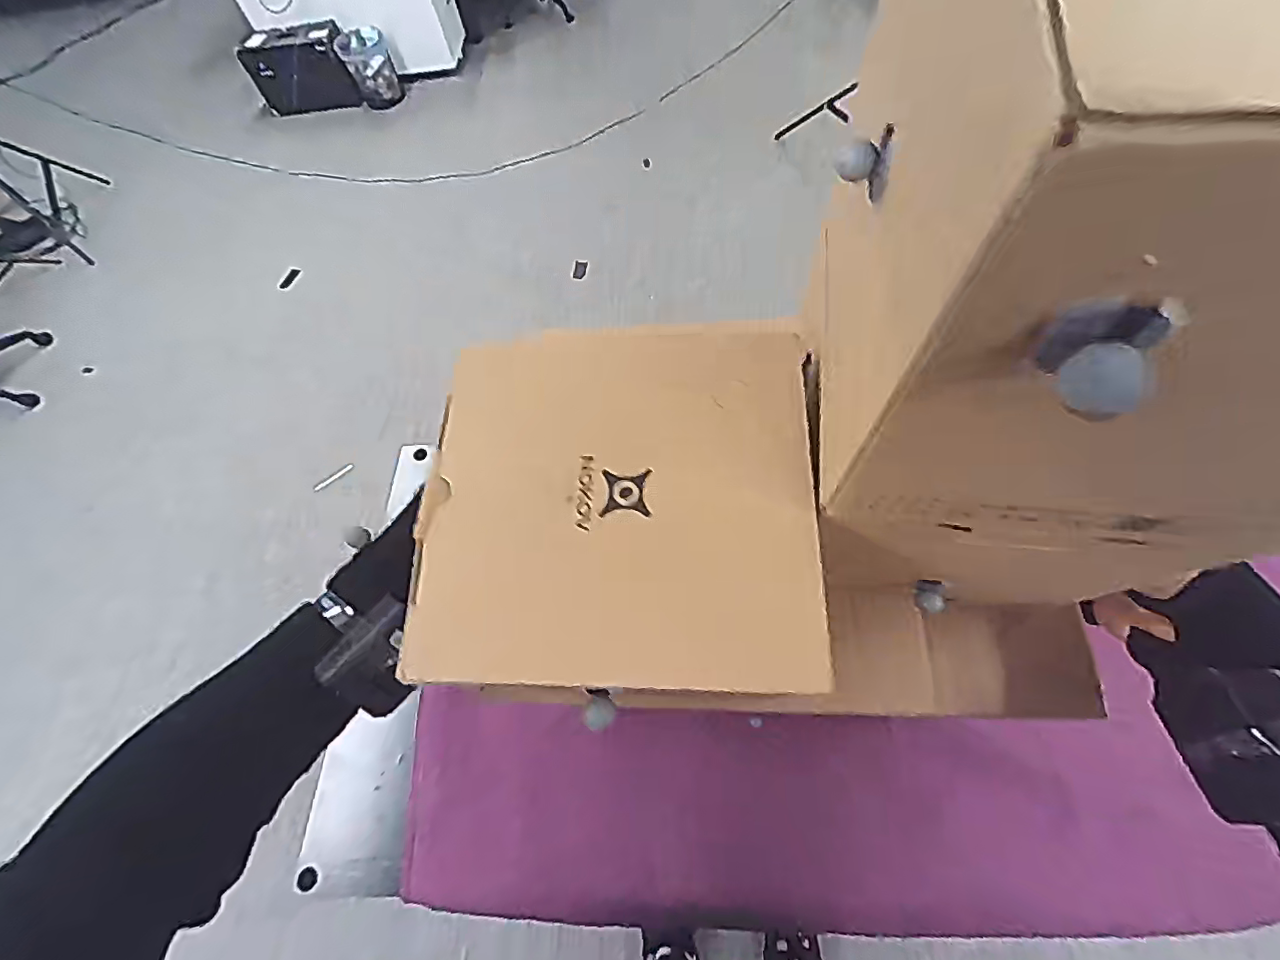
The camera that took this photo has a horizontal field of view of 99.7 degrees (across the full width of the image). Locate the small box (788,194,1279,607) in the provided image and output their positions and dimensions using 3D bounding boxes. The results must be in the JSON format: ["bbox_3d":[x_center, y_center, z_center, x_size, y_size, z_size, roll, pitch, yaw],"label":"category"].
[{"bbox_3d":[0.182,-0.034,0.317,0.168,0.176,0.179,4,69,9],"label":"small box"}]

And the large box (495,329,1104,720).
[{"bbox_3d":[0.114,0.069,0.550,0.408,0.320,0.320,-2,66,7],"label":"large box"}]
